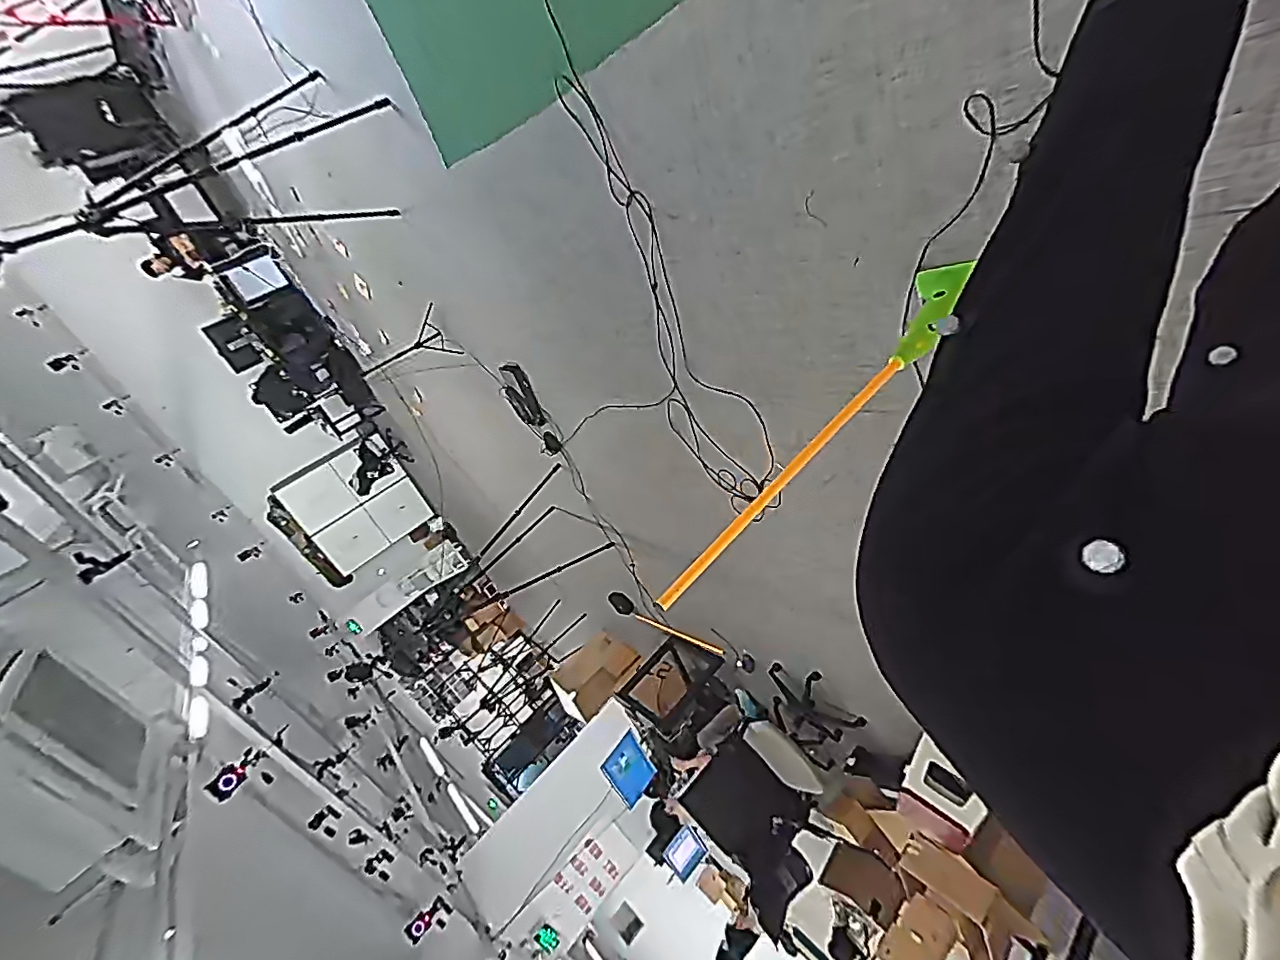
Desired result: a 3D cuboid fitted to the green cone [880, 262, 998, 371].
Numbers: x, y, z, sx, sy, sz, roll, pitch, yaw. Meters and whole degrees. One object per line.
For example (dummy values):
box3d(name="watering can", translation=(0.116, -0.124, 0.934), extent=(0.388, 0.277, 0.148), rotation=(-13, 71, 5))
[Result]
box3d(name="green cone", translation=(0.744, -0.394, 1.414), extent=(0.202, 0.368, 0.200), rotation=(12, 135, 54))
